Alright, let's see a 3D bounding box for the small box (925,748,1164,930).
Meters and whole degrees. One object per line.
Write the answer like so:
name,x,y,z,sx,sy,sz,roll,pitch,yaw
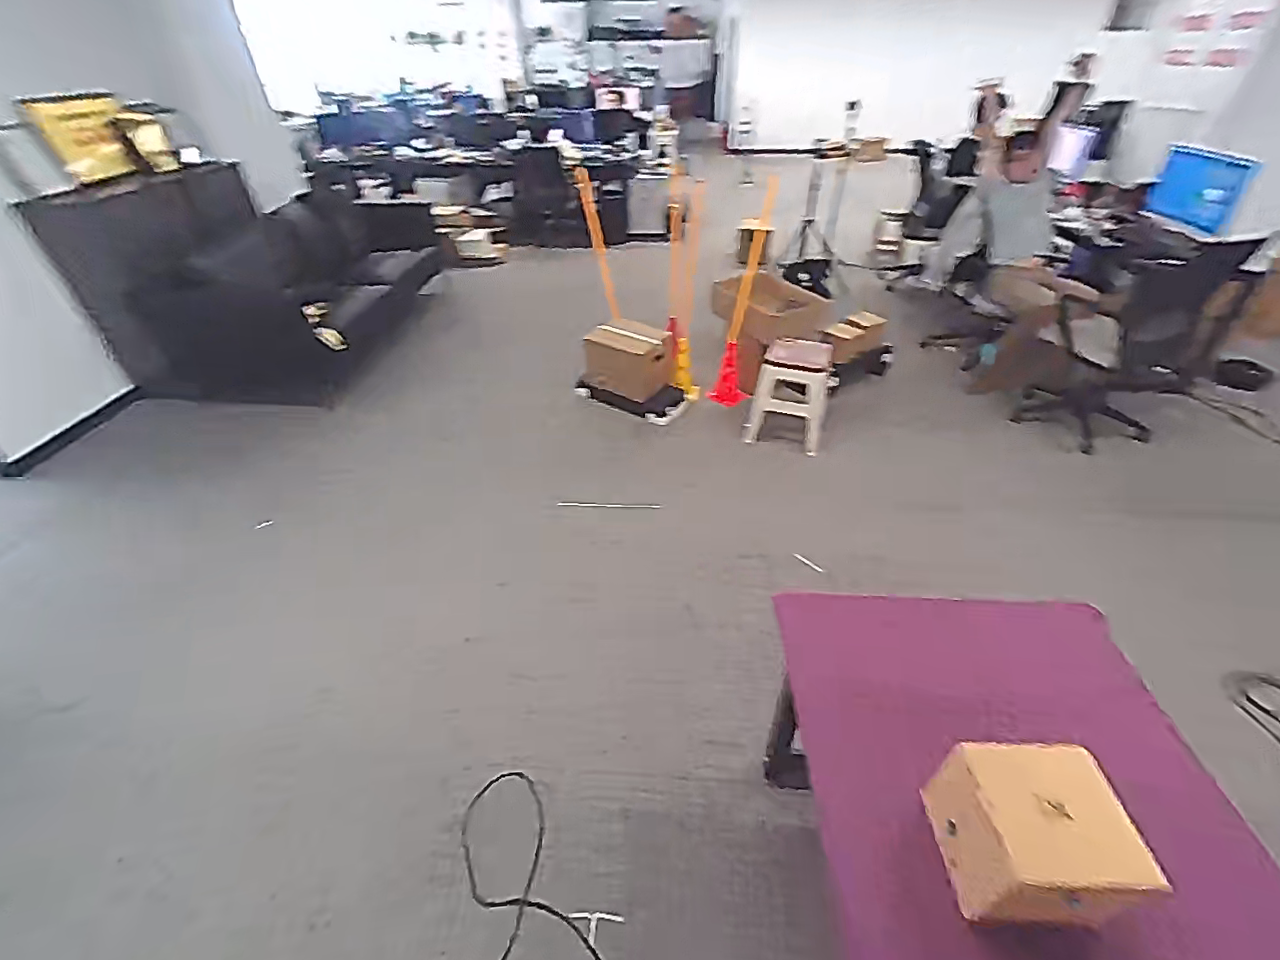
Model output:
small box,0.529,0.491,0.741,0.179,0.176,0.168,0,39,2
